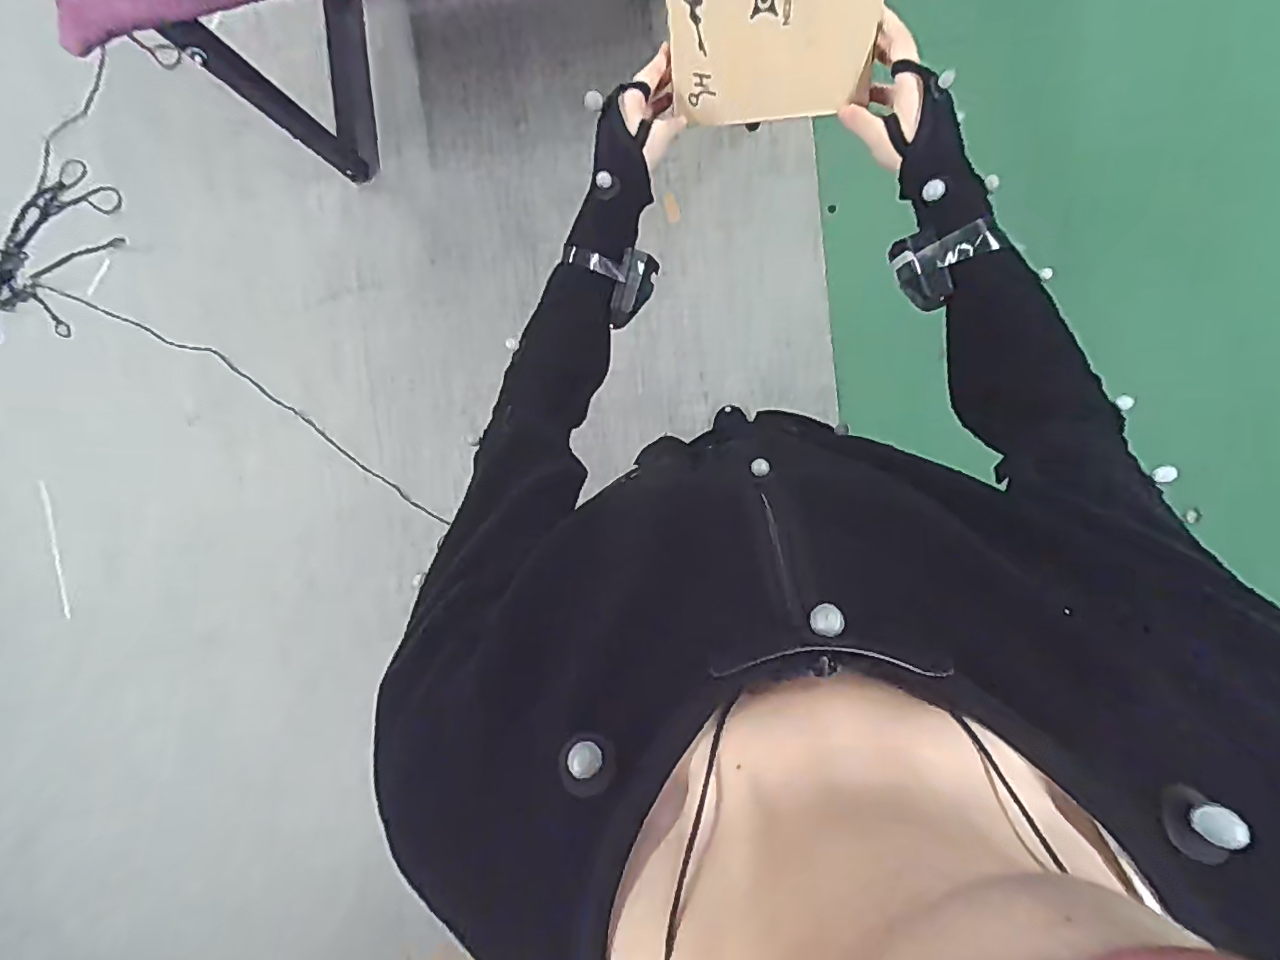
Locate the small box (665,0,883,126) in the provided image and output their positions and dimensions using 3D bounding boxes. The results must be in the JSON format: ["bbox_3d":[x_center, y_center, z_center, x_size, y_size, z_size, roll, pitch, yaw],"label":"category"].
[{"bbox_3d":[0.113,-0.439,0.502,0.179,0.176,0.168,-2,126,5],"label":"small box"}]
